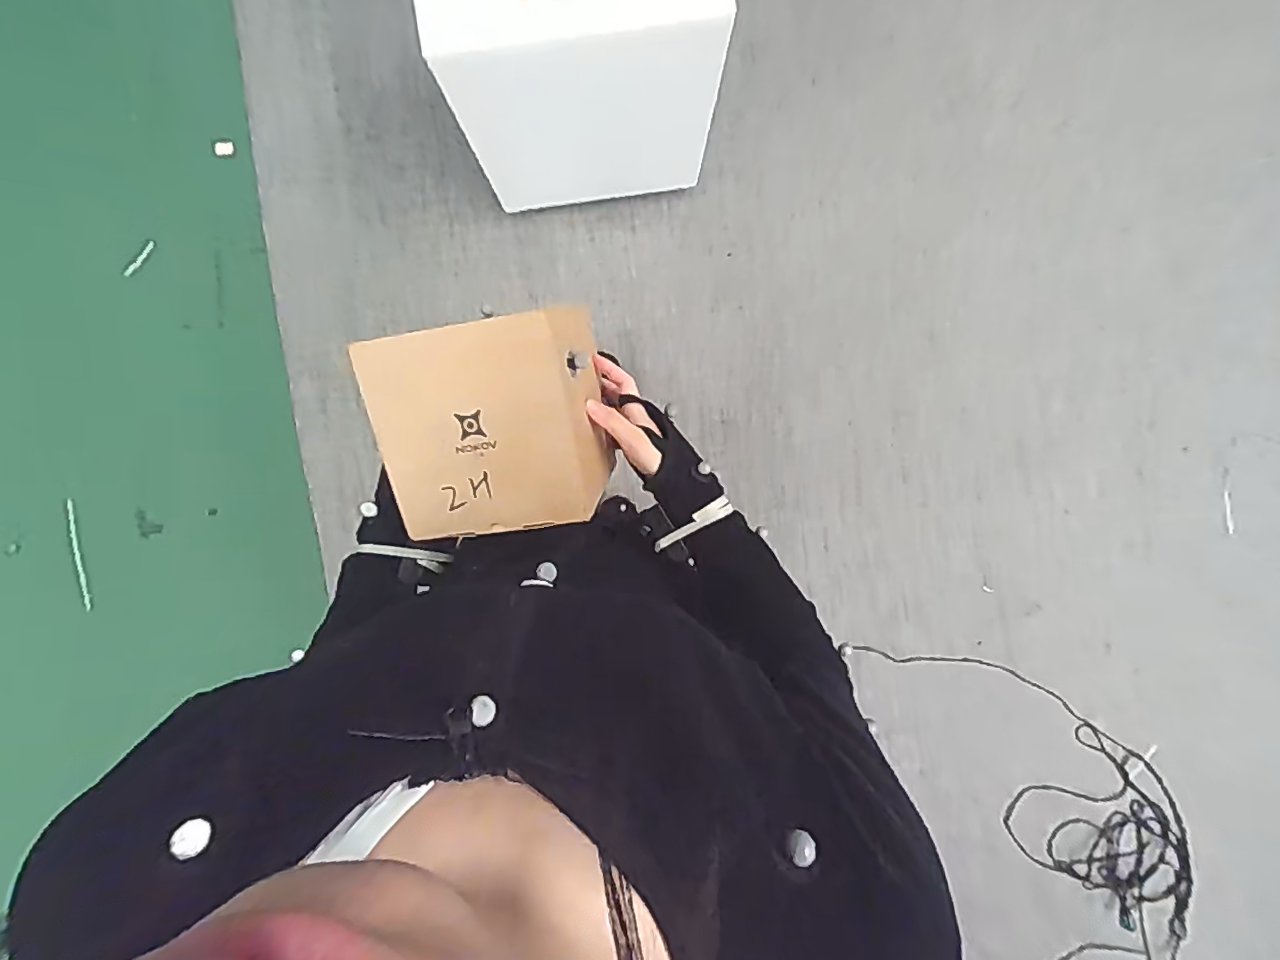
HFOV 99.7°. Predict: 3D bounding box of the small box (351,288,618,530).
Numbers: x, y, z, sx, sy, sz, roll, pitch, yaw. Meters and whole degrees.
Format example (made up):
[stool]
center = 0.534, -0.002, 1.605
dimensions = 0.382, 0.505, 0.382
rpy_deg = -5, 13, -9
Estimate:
[small box]
center = -0.121, -0.072, 0.500
dimensions = 0.168, 0.176, 0.179
rpy_deg = -7, 107, 8
